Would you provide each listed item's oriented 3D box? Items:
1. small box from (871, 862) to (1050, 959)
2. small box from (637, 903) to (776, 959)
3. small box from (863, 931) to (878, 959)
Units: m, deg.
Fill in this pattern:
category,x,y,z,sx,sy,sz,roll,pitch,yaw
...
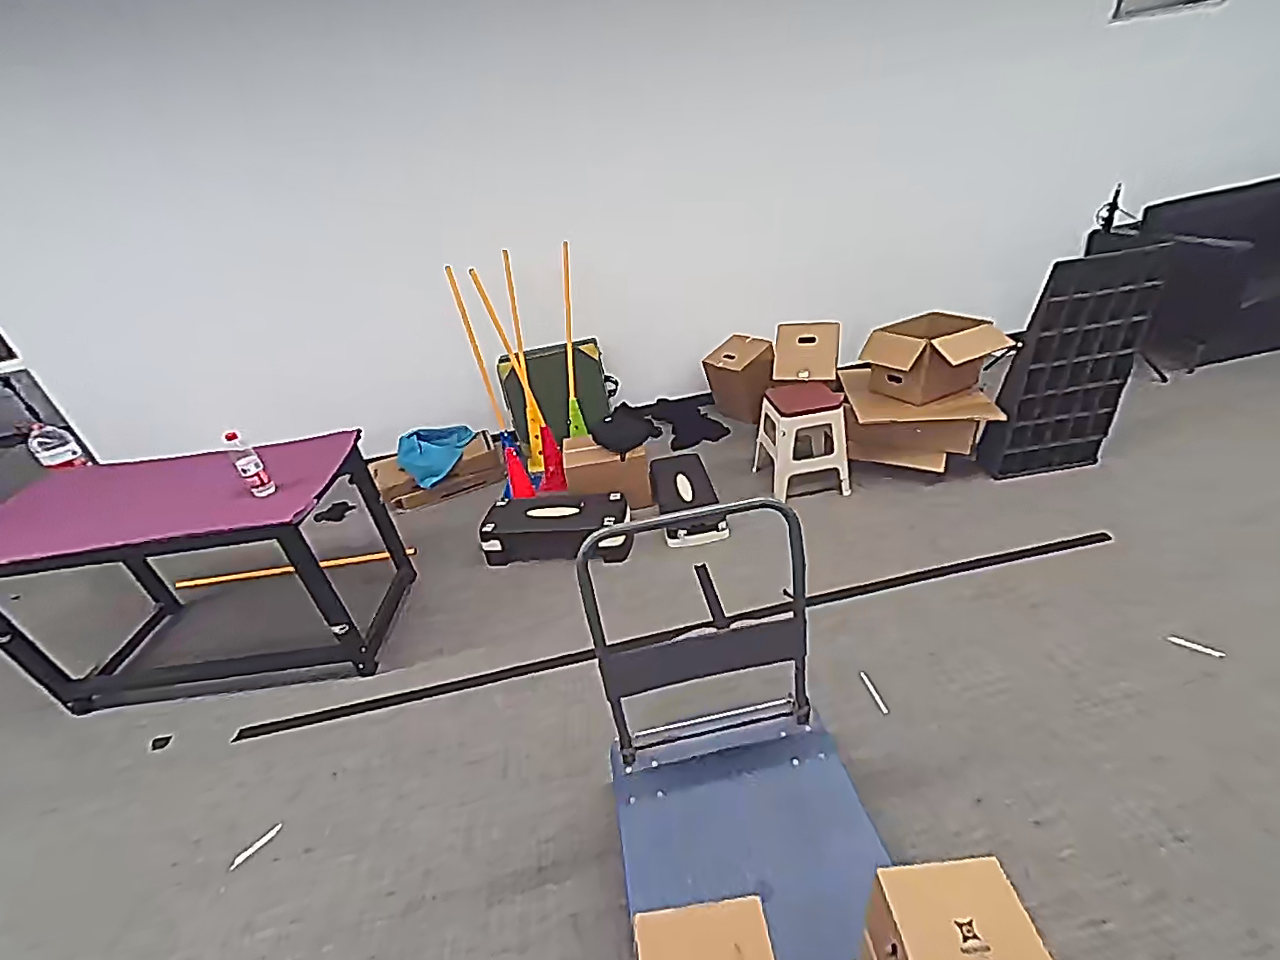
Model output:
category,x,y,z,sx,sy,sz,roll,pitch,yaw
small box,0.418,0.642,0.706,0.168,0.176,0.179,-7,31,2
small box,0.097,0.693,0.704,0.179,0.176,0.168,-8,32,0
small box,0.439,0.783,0.788,0.179,0.176,0.168,-7,31,1
